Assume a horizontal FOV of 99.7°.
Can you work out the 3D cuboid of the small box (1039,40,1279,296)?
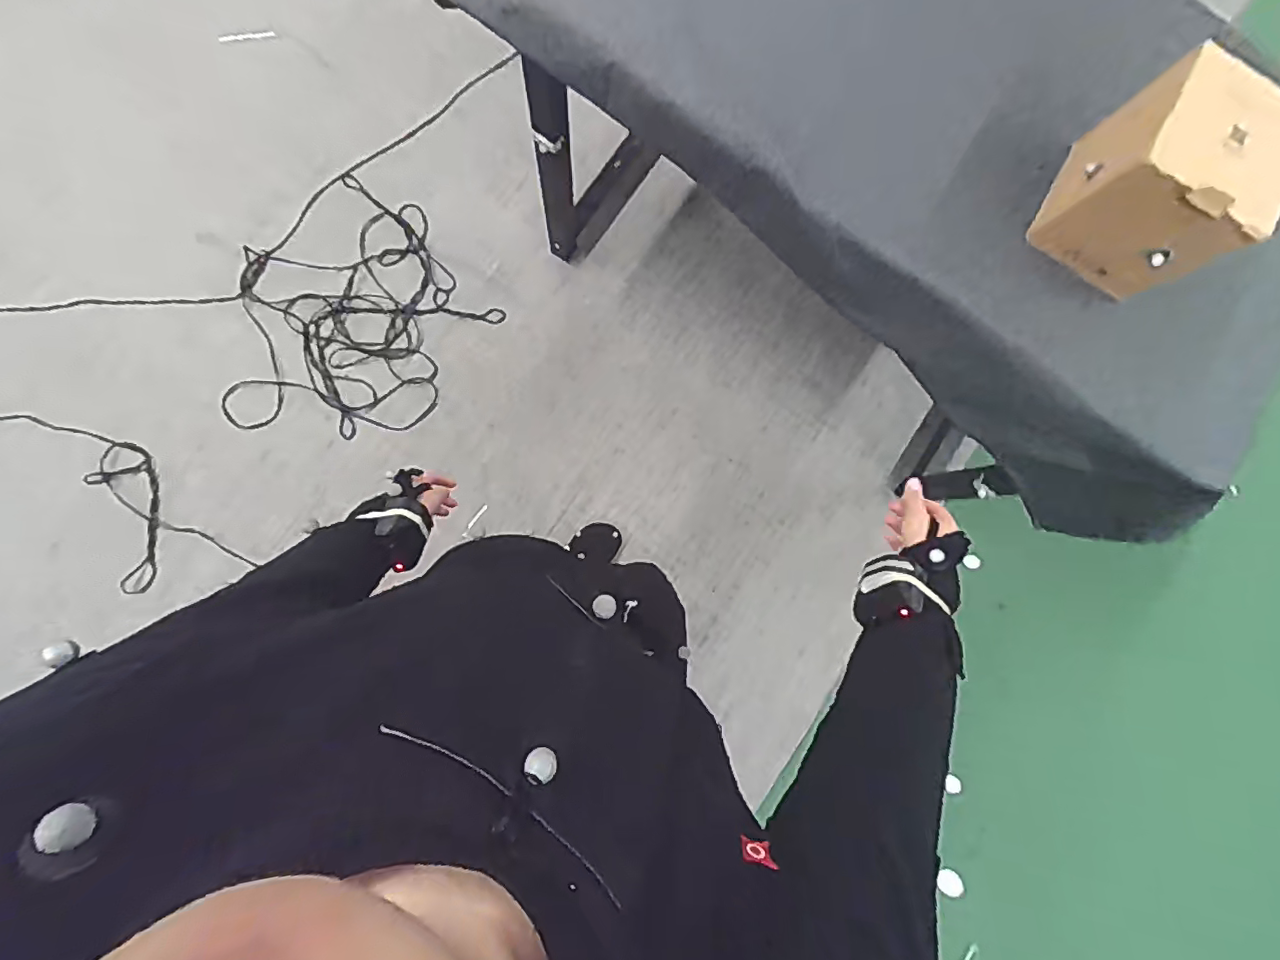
[{"bbox_3d":[0.645,-0.363,0.664,0.168,0.176,0.179,31,82,-3],"label":"small box"}]
